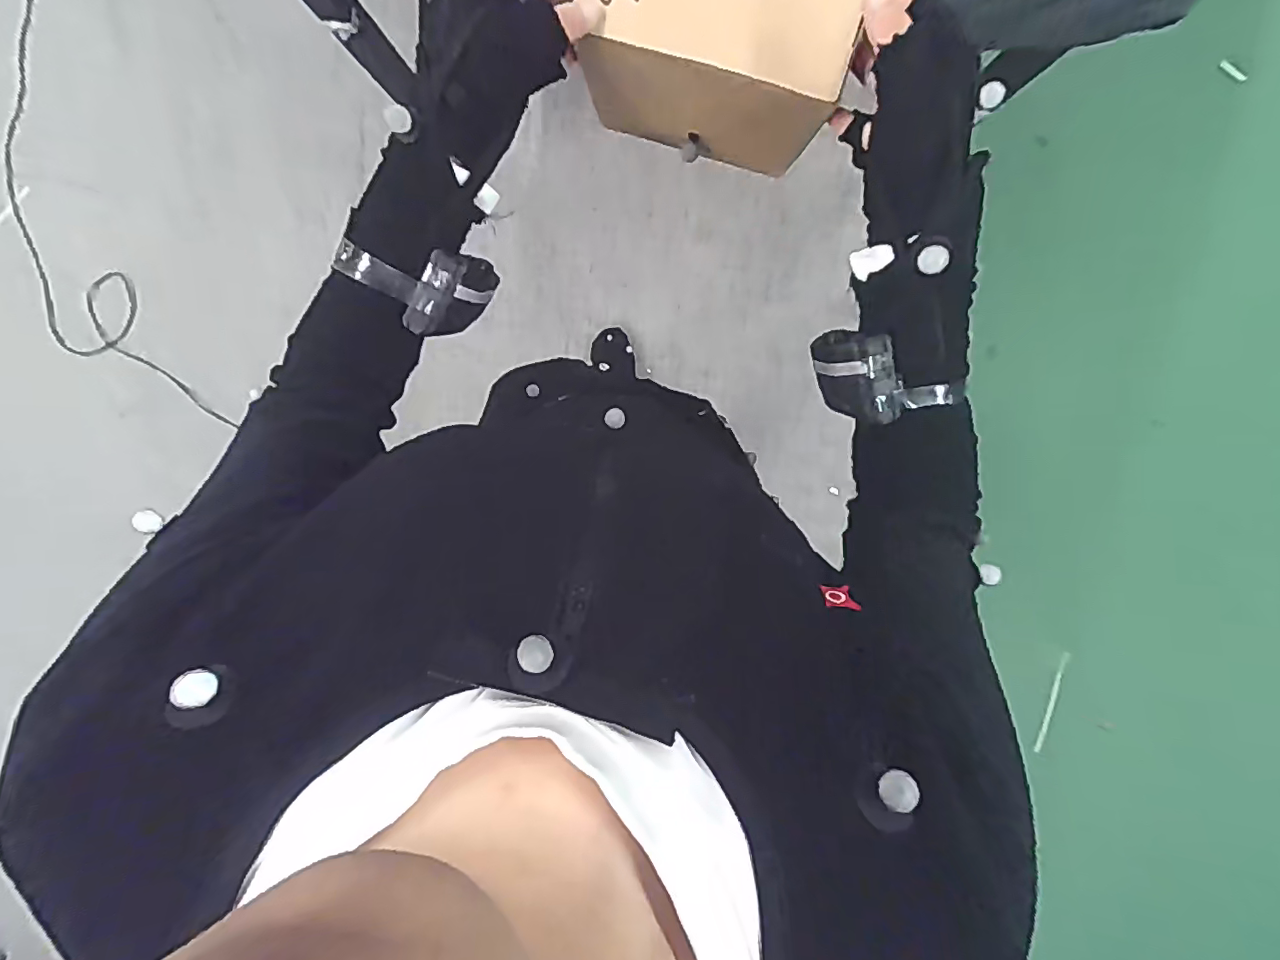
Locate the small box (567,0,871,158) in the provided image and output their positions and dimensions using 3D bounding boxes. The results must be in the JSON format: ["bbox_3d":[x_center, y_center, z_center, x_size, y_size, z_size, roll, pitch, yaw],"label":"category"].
[{"bbox_3d":[0.062,-0.356,0.383,0.179,0.176,0.168,15,104,-2],"label":"small box"}]
